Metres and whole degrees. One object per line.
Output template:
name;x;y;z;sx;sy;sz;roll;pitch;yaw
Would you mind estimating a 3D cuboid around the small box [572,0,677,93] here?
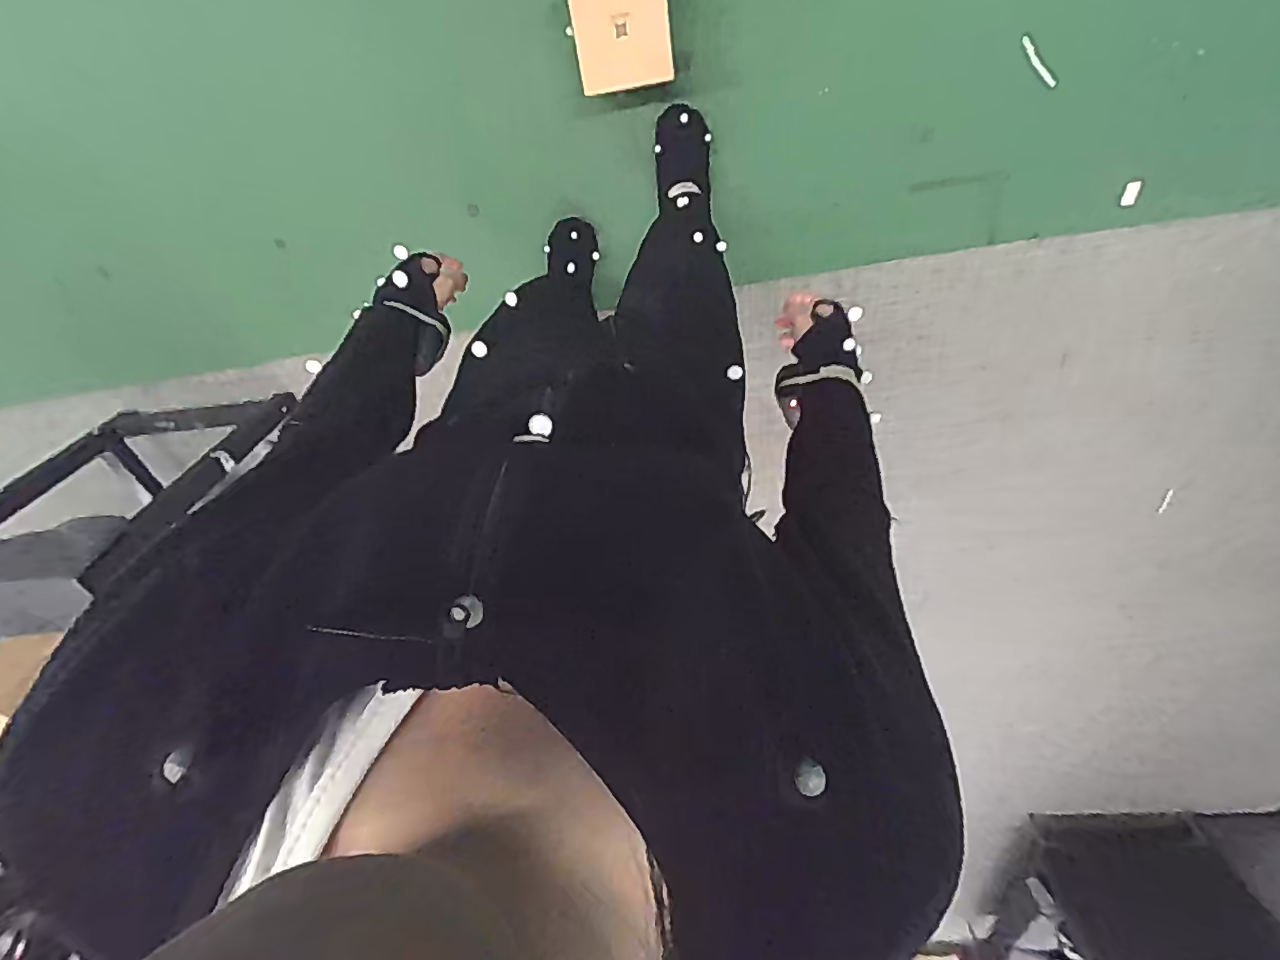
small box;-0.022;-0.827;0.980;0.168;0.176;0.179;-5;127;8
